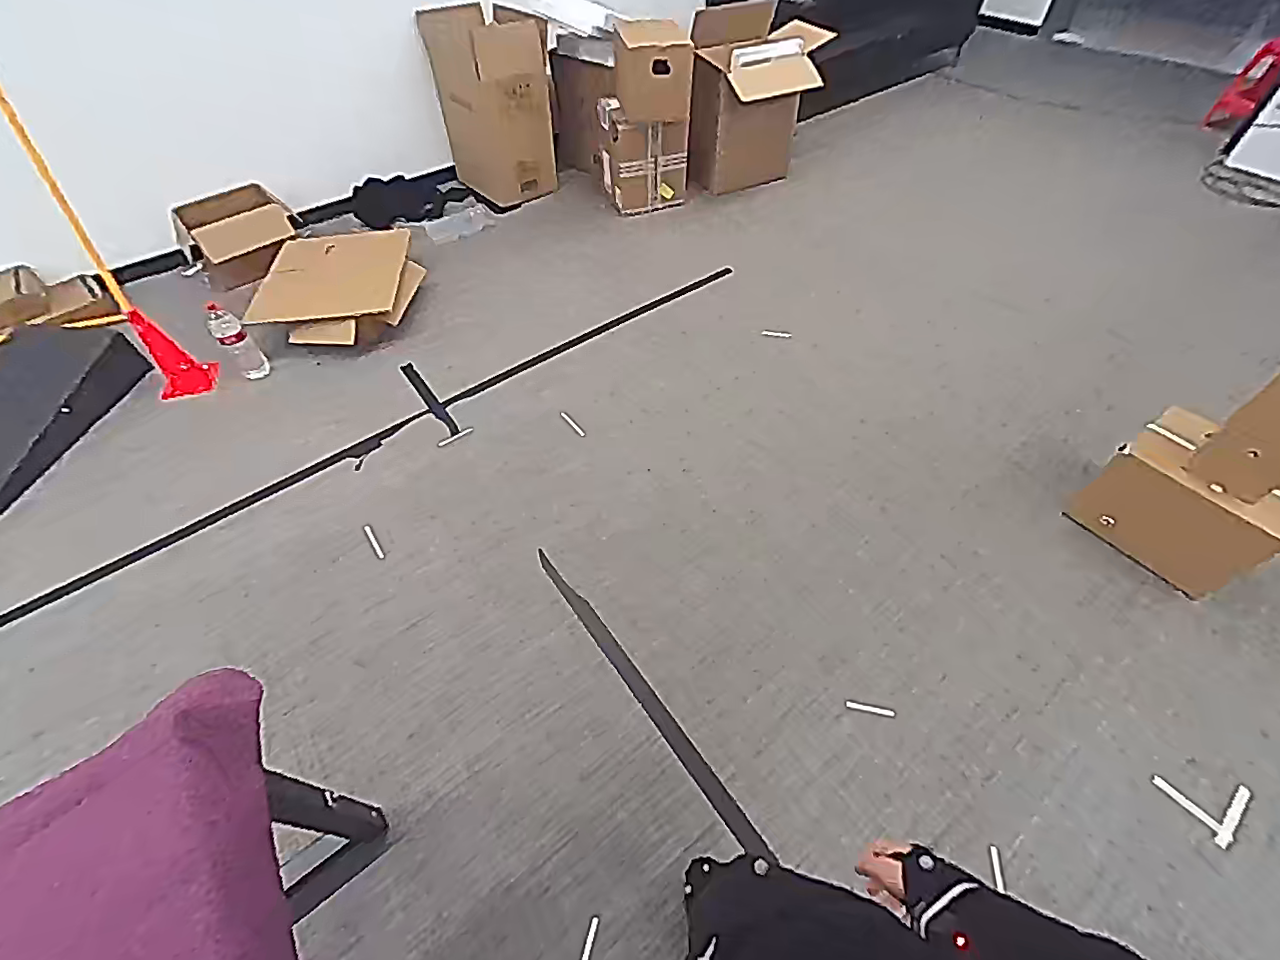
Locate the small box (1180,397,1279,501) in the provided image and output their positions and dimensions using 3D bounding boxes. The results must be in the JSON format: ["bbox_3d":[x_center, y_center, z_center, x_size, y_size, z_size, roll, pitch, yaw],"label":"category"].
[{"bbox_3d":[1.584,-0.077,1.406,0.168,0.176,0.179,-33,58,-20],"label":"small box"}]
